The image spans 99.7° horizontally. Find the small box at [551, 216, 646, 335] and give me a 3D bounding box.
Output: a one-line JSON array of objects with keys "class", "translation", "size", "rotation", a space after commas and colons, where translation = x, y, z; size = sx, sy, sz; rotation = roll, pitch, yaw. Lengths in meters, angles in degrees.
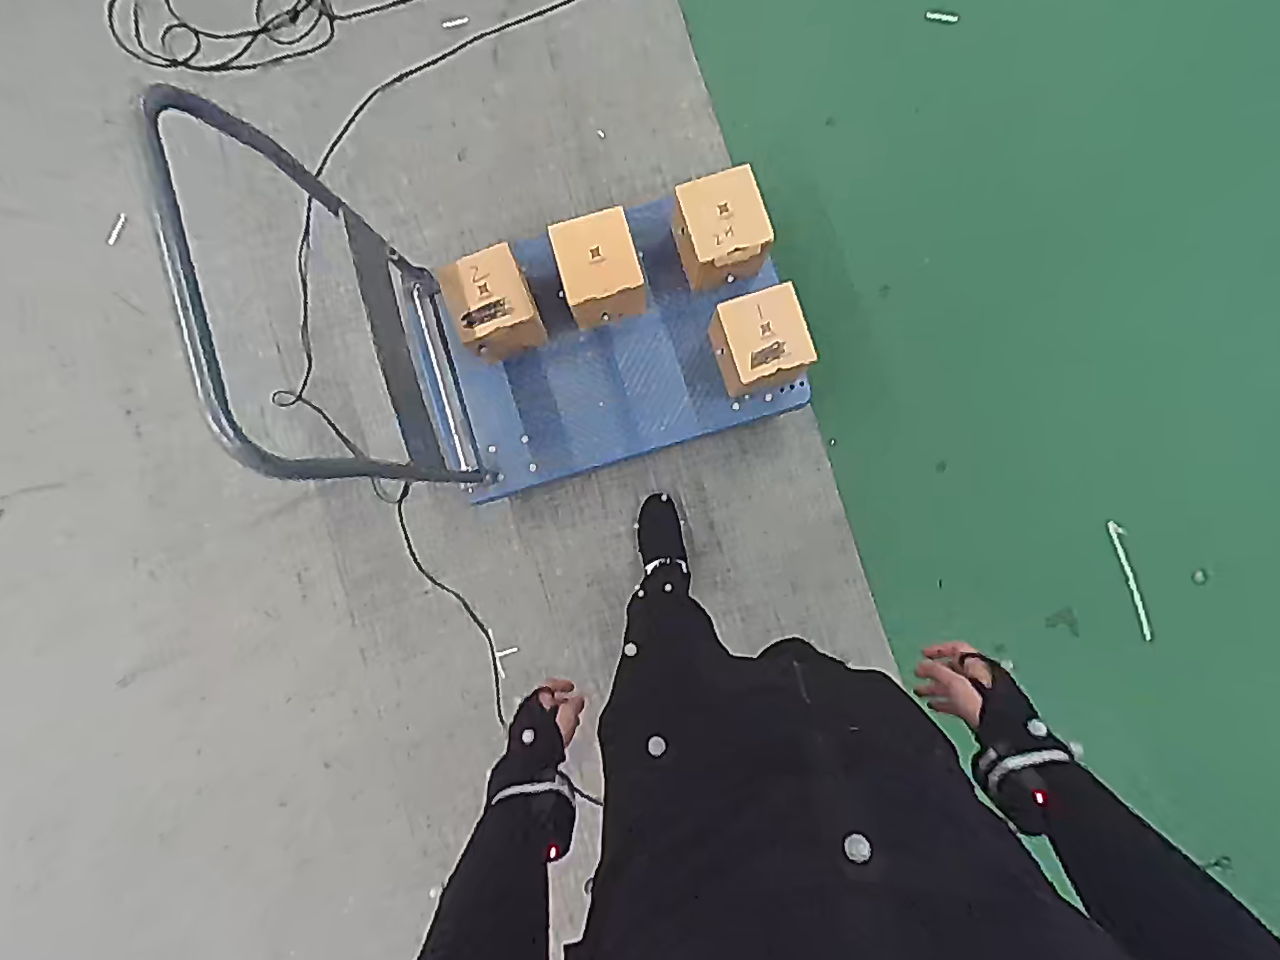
[{"class": "small box", "translation": [-0.089, -0.450, 1.213], "size": [0.168, 0.176, 0.179], "rotation": [-16, 88, -1]}]

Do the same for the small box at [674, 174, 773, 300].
[{"class": "small box", "translation": [0.178, -0.535, 1.212], "size": [0.168, 0.176, 0.179], "rotation": [-17, 87, 1]}]

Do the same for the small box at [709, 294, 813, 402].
[{"class": "small box", "translation": [0.264, -0.284, 1.213], "size": [0.168, 0.176, 0.179], "rotation": [-18, 86, -1]}]
